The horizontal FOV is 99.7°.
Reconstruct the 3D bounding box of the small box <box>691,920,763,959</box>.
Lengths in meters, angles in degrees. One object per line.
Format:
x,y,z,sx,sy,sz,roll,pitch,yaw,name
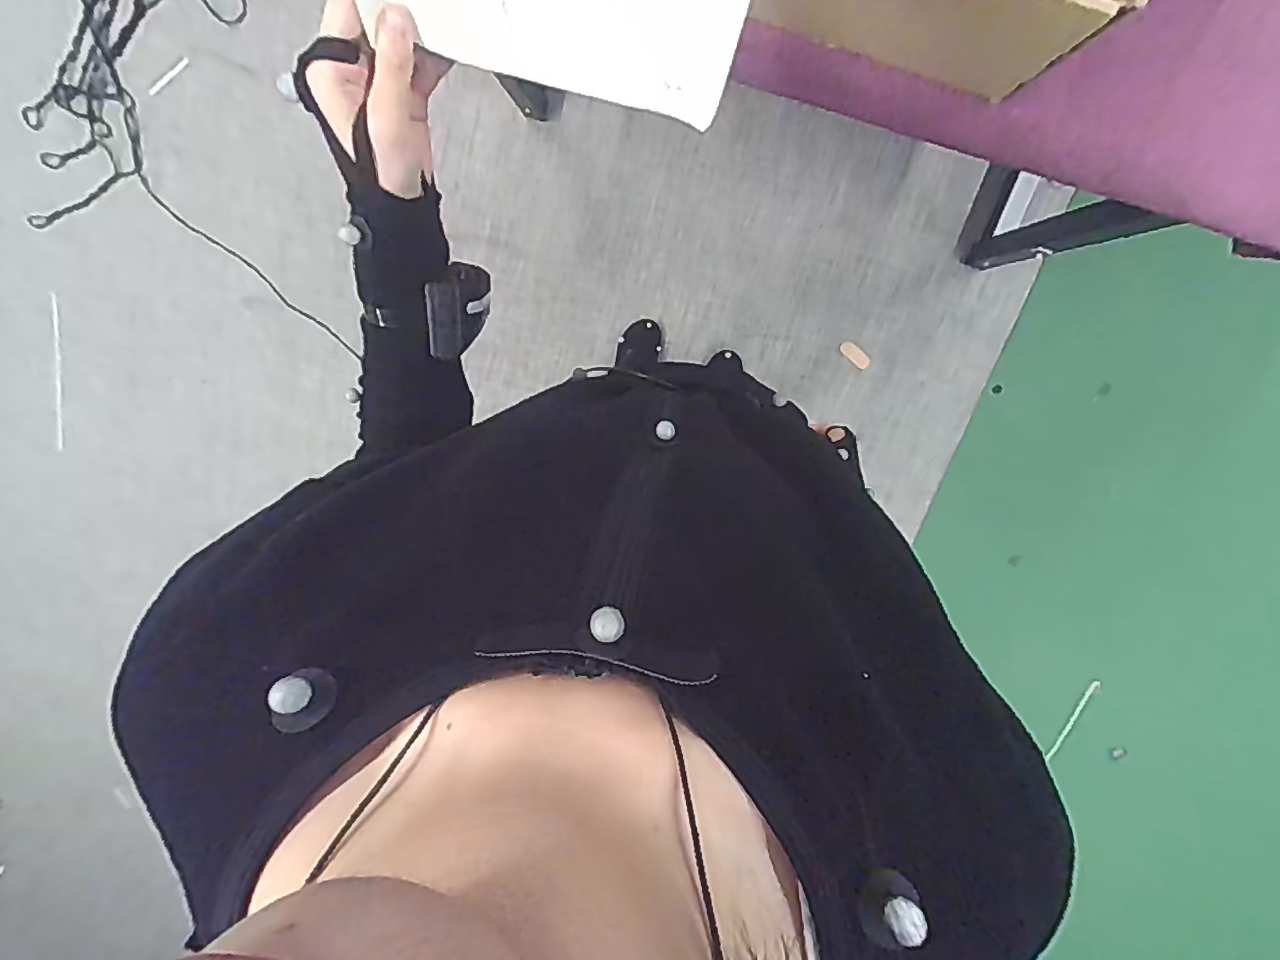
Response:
0.232,1.321,1.437,0.179,0.176,0.168,6,103,4,small box

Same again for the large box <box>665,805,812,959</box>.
0.280,1.262,1.673,0.408,0.320,0.320,3,105,3,large box
